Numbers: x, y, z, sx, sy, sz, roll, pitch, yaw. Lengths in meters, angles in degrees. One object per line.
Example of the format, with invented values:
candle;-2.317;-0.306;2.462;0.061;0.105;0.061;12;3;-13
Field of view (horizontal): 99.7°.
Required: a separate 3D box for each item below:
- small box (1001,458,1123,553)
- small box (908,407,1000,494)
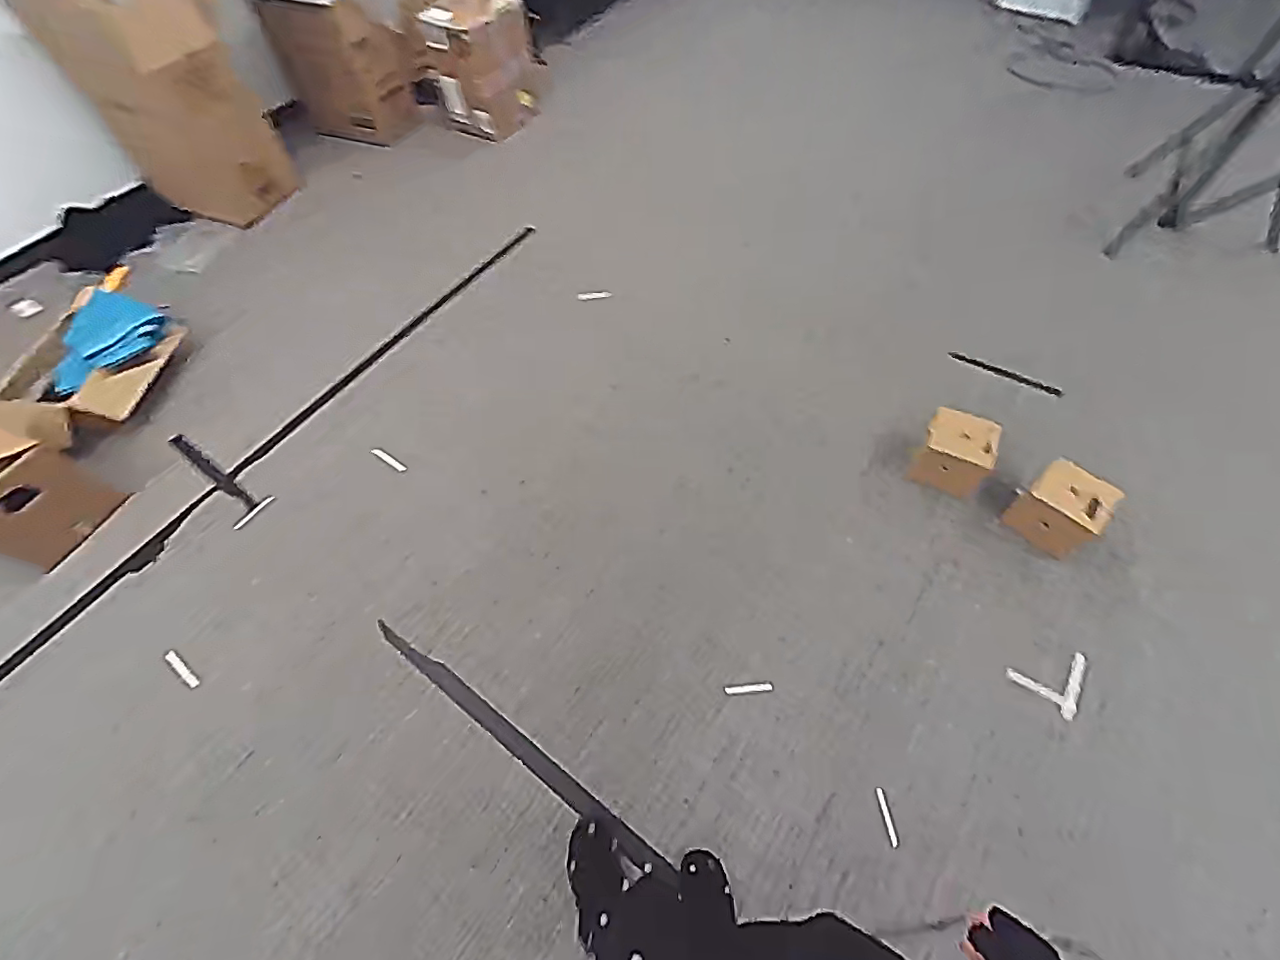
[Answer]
small box;1.155;0.079;1.492;0.168;0.176;0.179;-41;64;-19
small box;0.926;-0.083;1.608;0.179;0.176;0.168;22;64;18
